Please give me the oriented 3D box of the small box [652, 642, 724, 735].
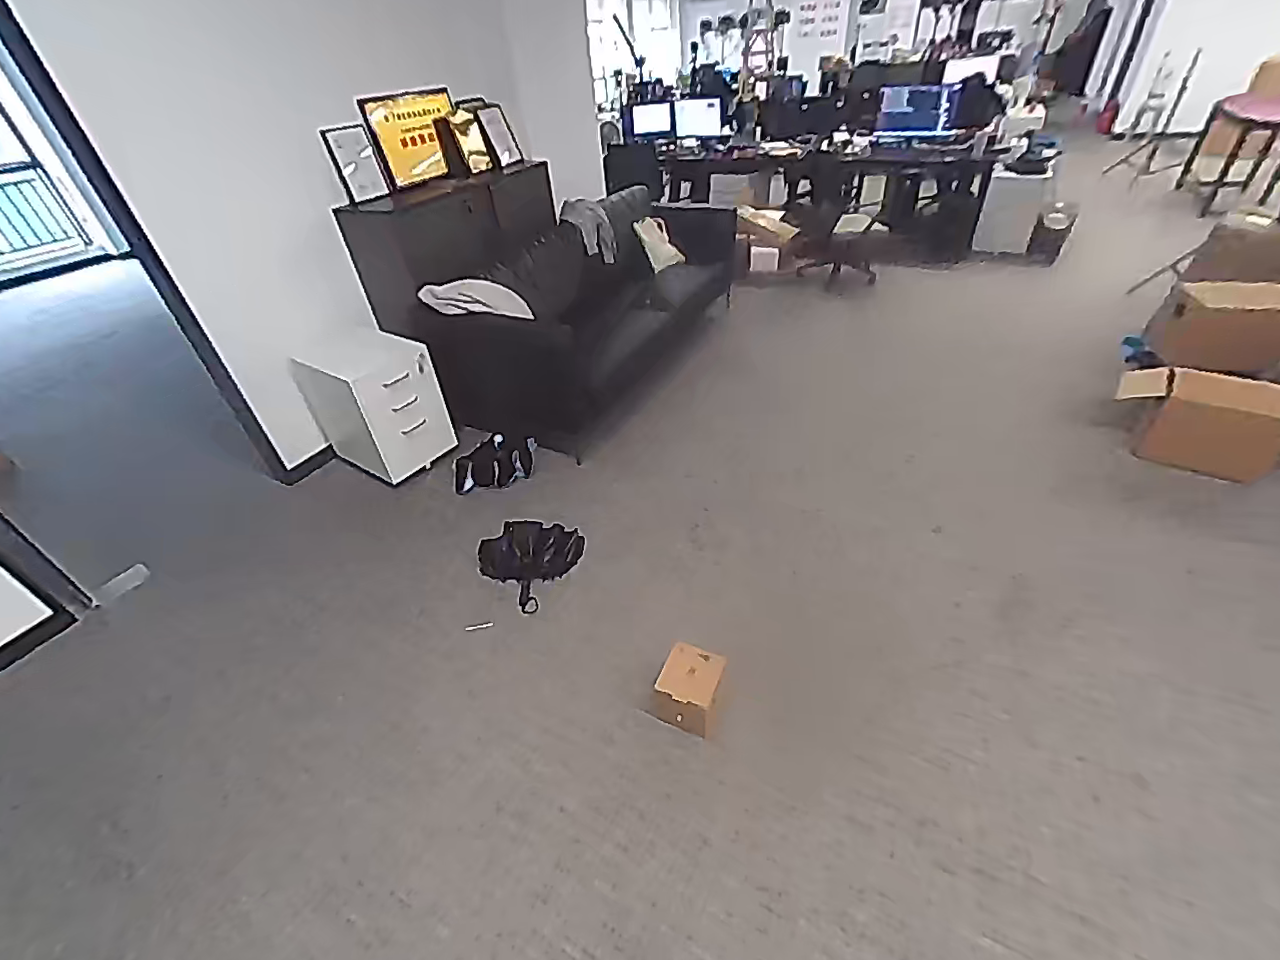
[{"bbox_3d":[0.150,0.630,1.629,0.168,0.176,0.179,13,42,22],"label":"small box"}]
